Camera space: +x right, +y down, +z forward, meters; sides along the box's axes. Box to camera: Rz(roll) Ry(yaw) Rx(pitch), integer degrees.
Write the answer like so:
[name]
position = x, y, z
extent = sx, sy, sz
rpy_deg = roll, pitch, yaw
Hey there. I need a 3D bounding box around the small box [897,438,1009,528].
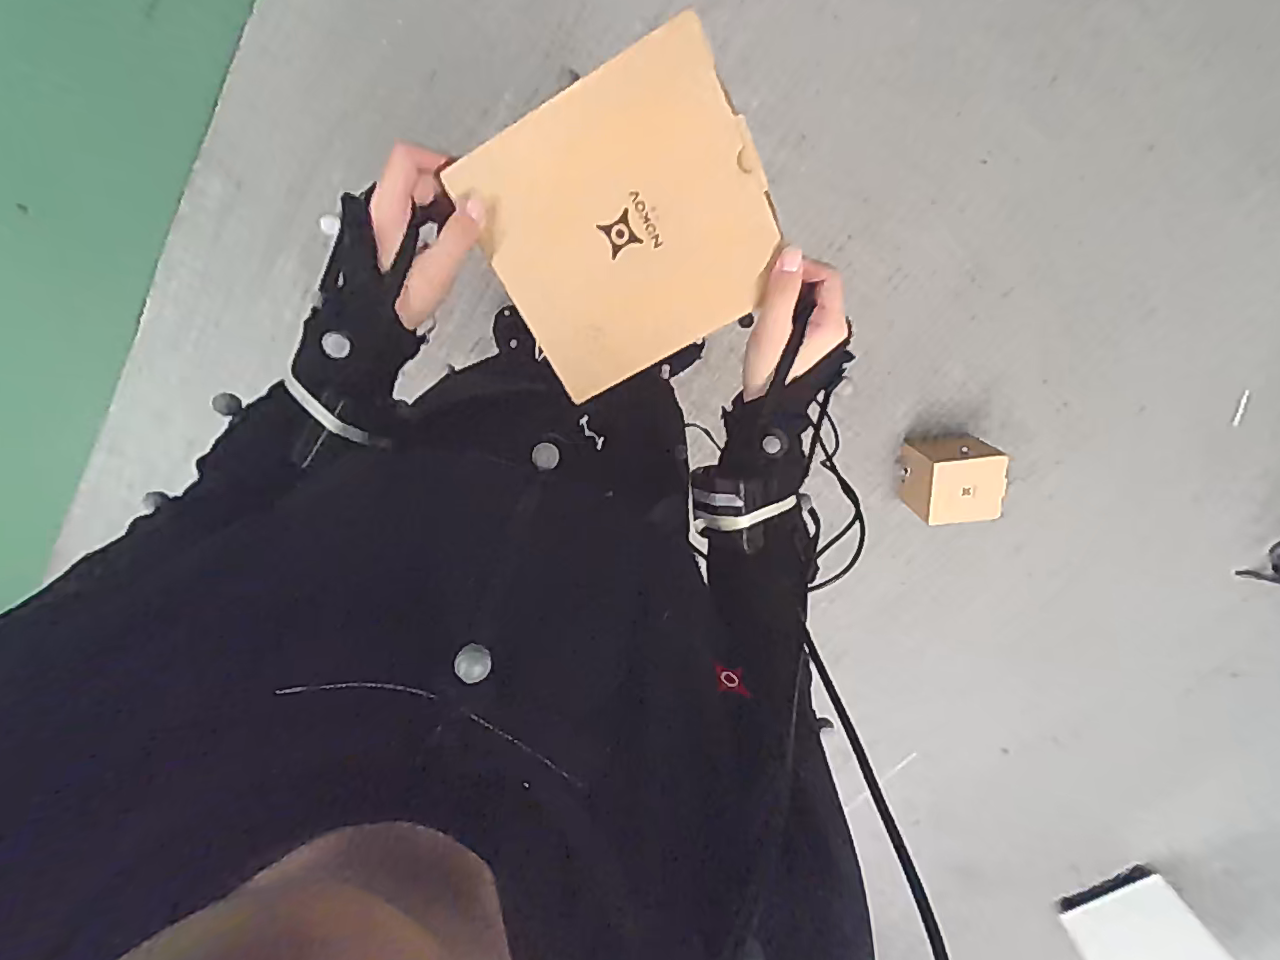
[small box]
position = 0.767, 0.002, 1.342
extent = 0.179, 0.176, 0.168
rpy_deg = -6, 112, 2
